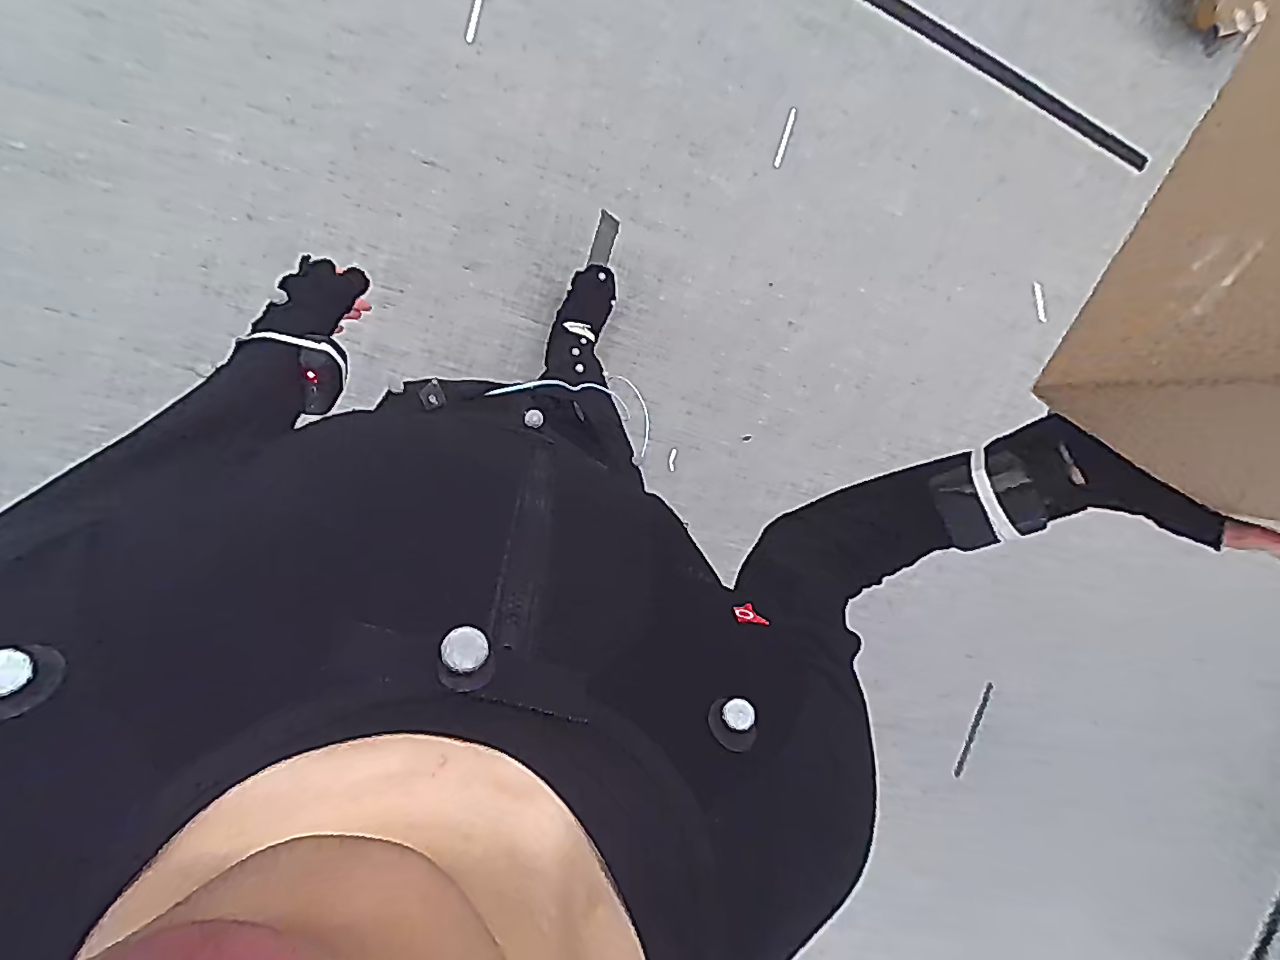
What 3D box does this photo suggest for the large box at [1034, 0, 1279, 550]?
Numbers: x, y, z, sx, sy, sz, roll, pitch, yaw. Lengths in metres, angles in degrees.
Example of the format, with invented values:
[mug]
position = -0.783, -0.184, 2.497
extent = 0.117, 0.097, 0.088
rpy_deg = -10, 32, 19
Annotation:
[large box]
position = 0.470, -0.093, 0.161
extent = 0.320, 0.408, 0.320
rpy_deg = 30, 96, -9
